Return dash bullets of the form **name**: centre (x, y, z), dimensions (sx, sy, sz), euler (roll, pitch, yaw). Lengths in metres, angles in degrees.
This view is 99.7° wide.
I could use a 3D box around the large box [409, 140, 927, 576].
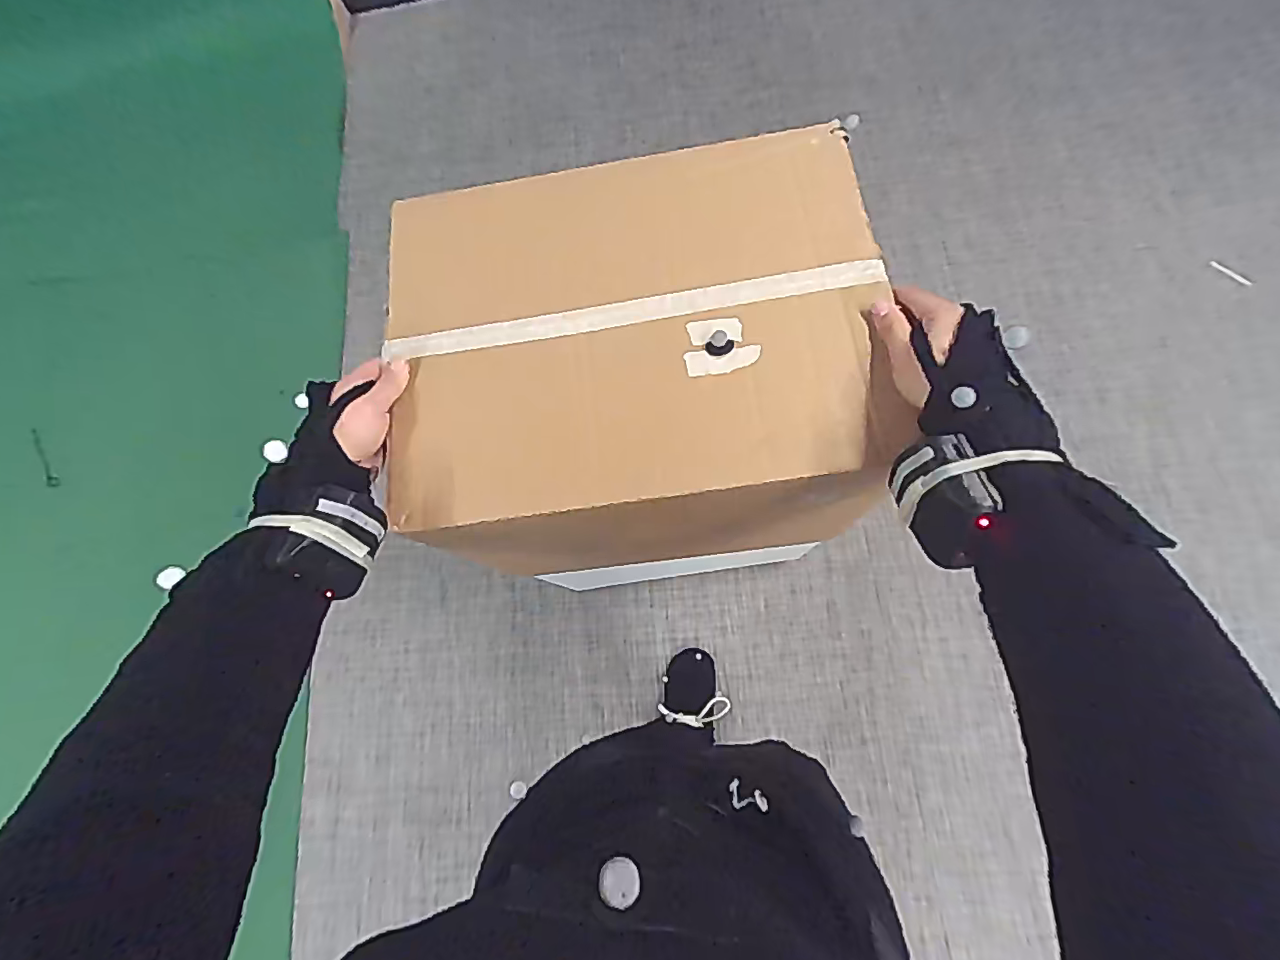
- **large box**: centre (0.012, -0.091, 0.593), dimensions (0.408, 0.320, 0.320), euler (-8, 74, 3)
